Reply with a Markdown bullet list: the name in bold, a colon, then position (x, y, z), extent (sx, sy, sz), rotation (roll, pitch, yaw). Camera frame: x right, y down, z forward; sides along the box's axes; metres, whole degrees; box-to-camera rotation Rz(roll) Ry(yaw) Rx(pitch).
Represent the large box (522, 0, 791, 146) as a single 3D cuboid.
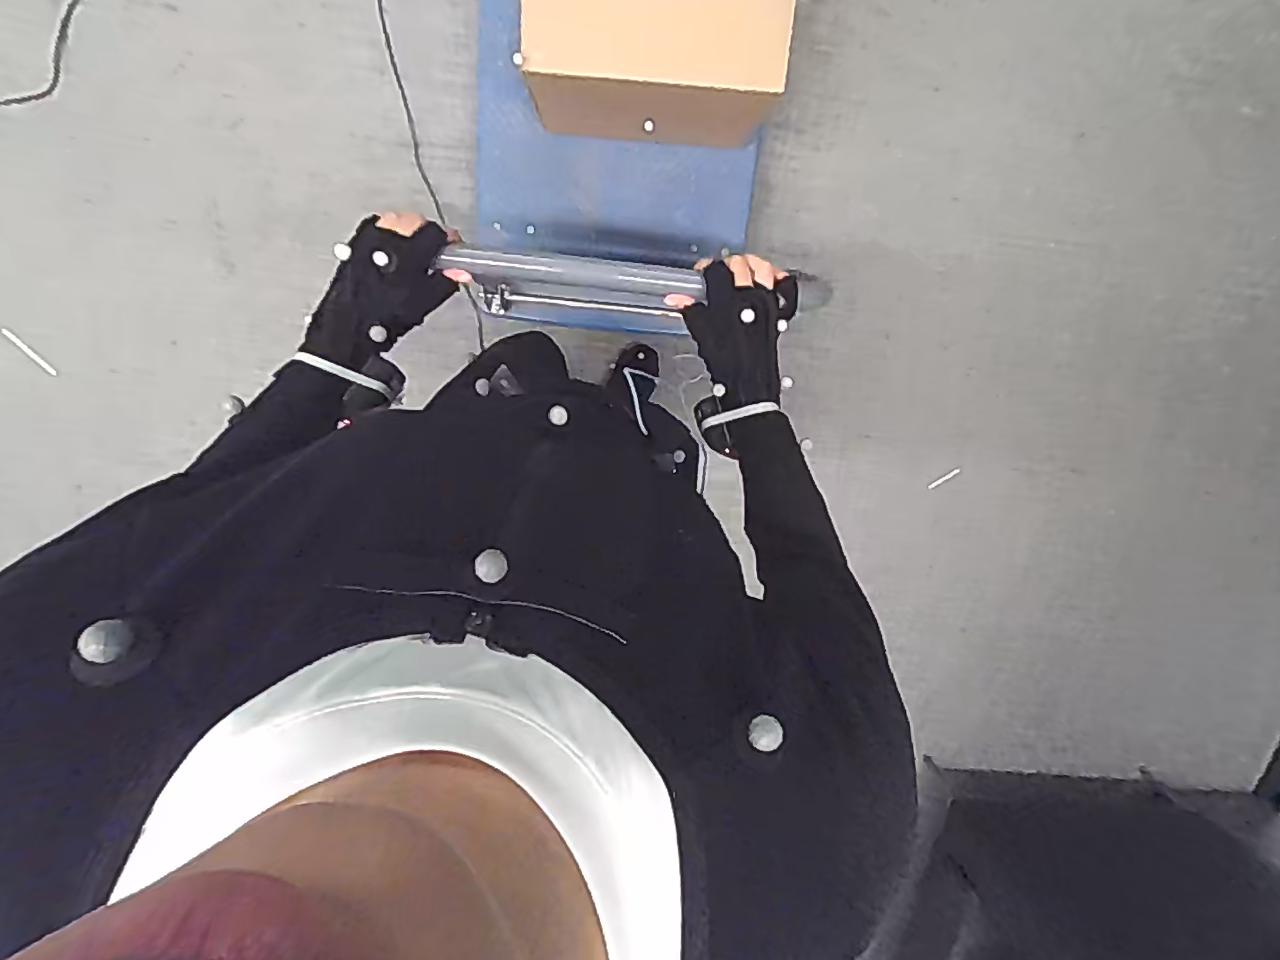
- **large box**: position (0.027, -0.795, 0.925), extent (0.408, 0.320, 0.320), rotation (3, 107, -2)
